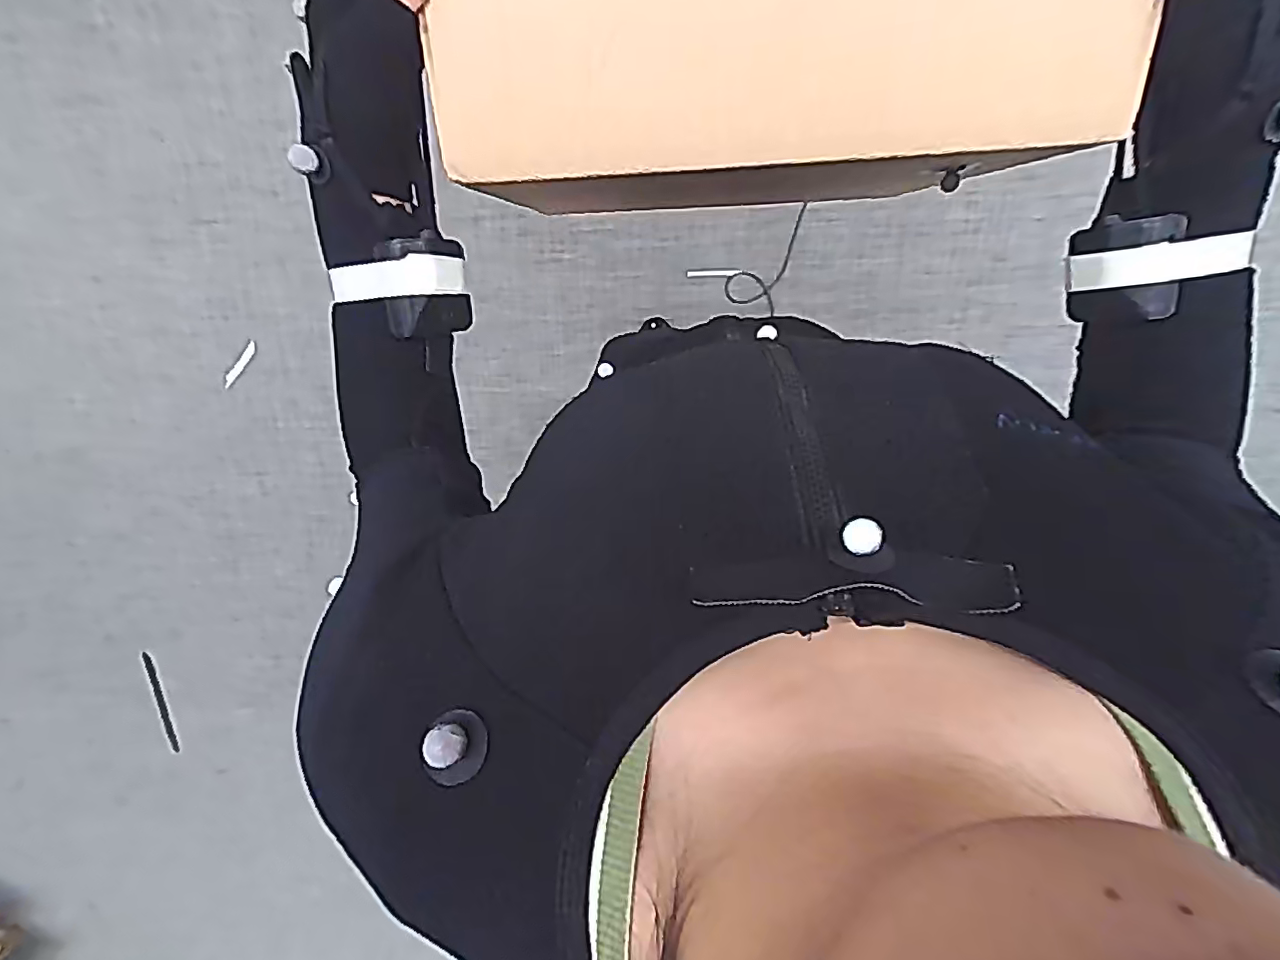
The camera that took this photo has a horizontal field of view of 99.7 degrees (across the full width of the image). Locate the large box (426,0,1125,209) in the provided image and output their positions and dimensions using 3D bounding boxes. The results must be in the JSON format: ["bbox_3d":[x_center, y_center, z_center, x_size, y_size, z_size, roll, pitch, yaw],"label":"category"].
[{"bbox_3d":[0.076,-0.398,0.415,0.408,0.320,0.320,-2,112,2],"label":"large box"}]
